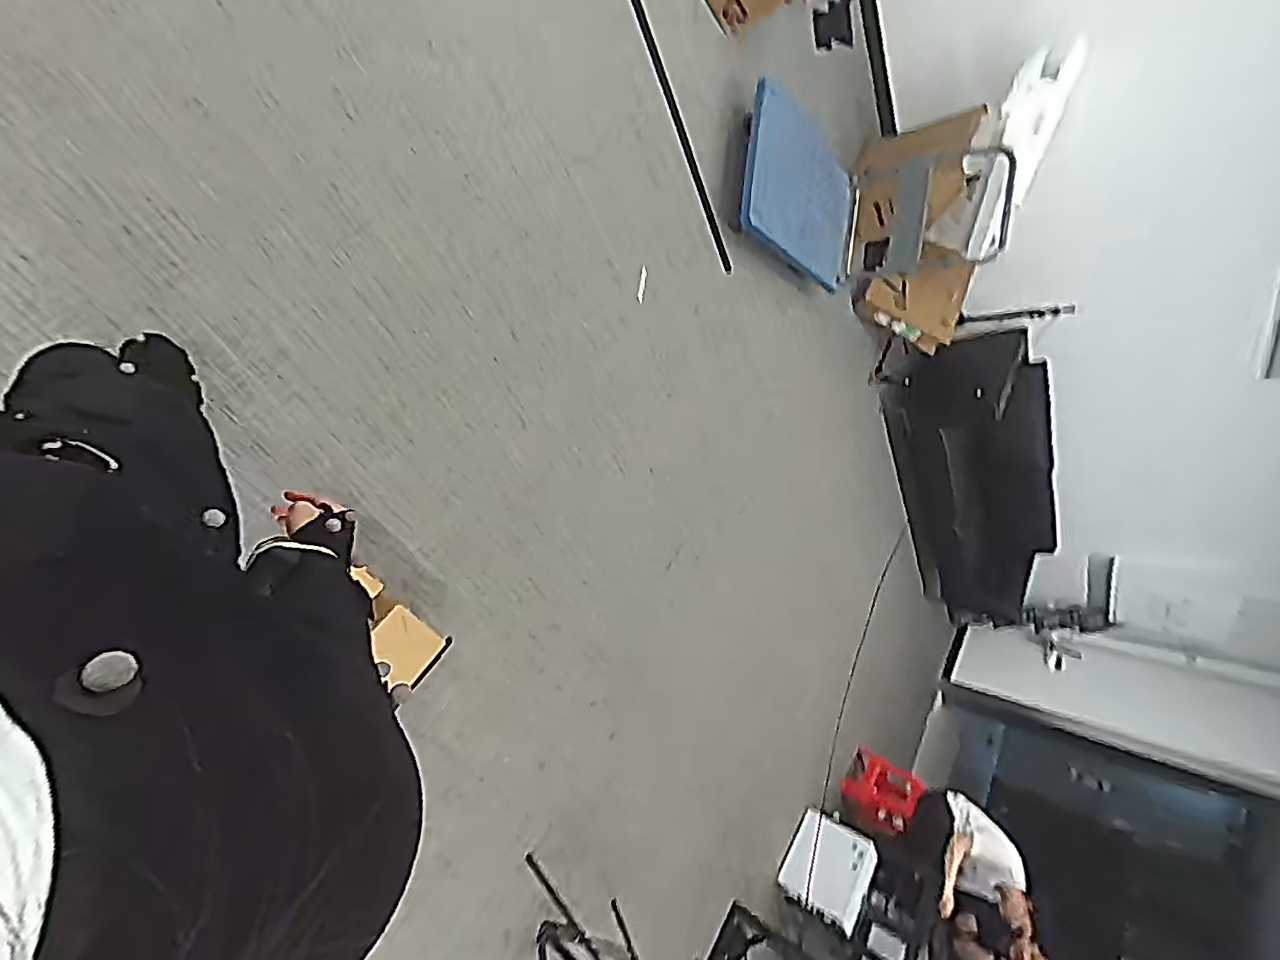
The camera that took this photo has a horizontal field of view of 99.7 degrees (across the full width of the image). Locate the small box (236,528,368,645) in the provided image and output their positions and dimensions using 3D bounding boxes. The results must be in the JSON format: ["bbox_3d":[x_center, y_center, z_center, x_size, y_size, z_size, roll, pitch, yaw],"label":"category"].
[{"bbox_3d":[-0.755,0.230,1.202,0.179,0.176,0.168,-52,129,-30],"label":"small box"}]
